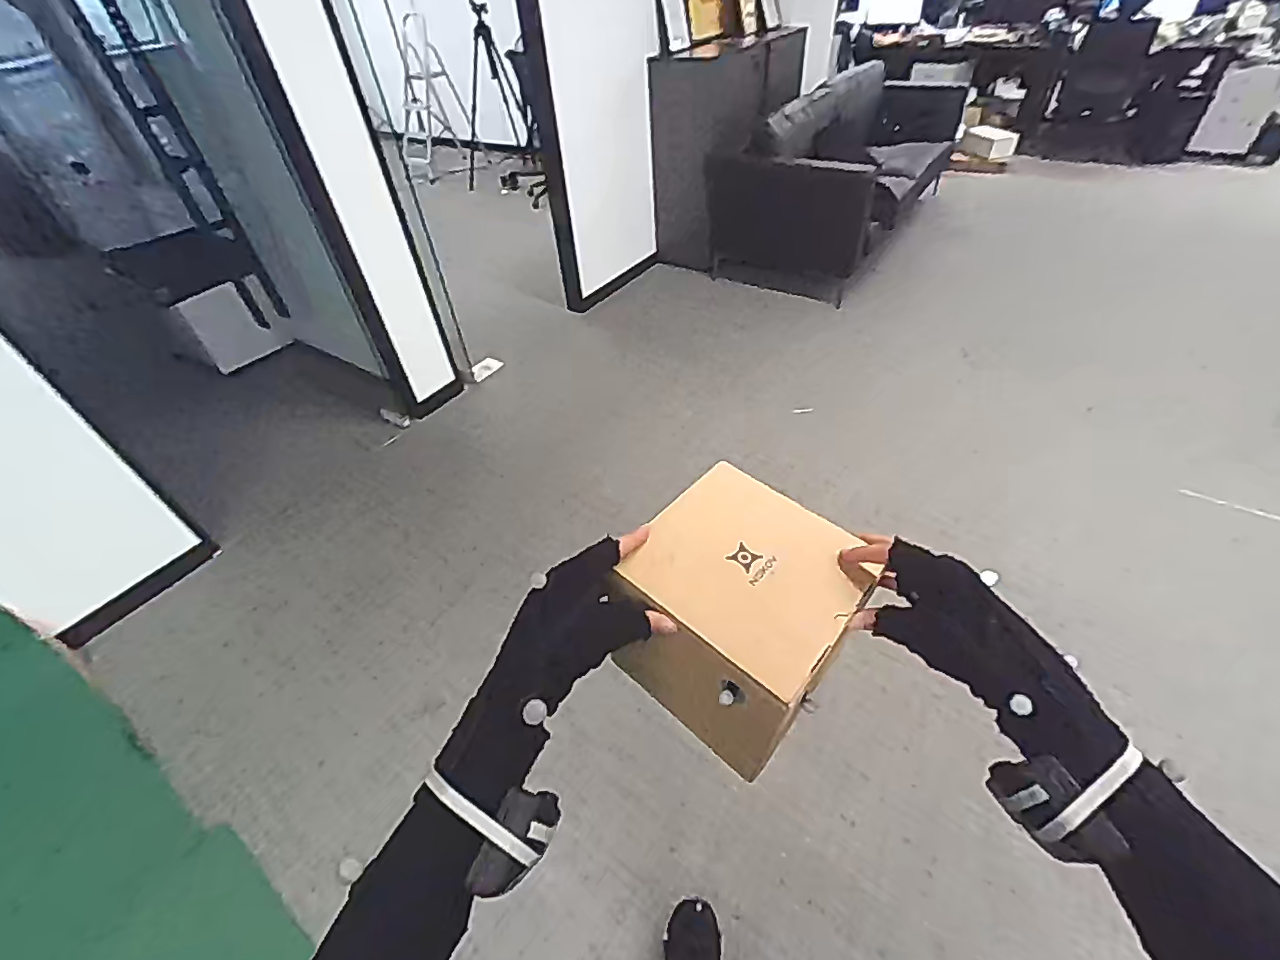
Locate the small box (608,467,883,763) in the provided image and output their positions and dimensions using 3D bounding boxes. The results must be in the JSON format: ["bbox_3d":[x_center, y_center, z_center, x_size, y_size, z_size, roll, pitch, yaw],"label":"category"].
[{"bbox_3d":[0.086,0.126,0.510,0.179,0.176,0.168,34,54,27],"label":"small box"}]
